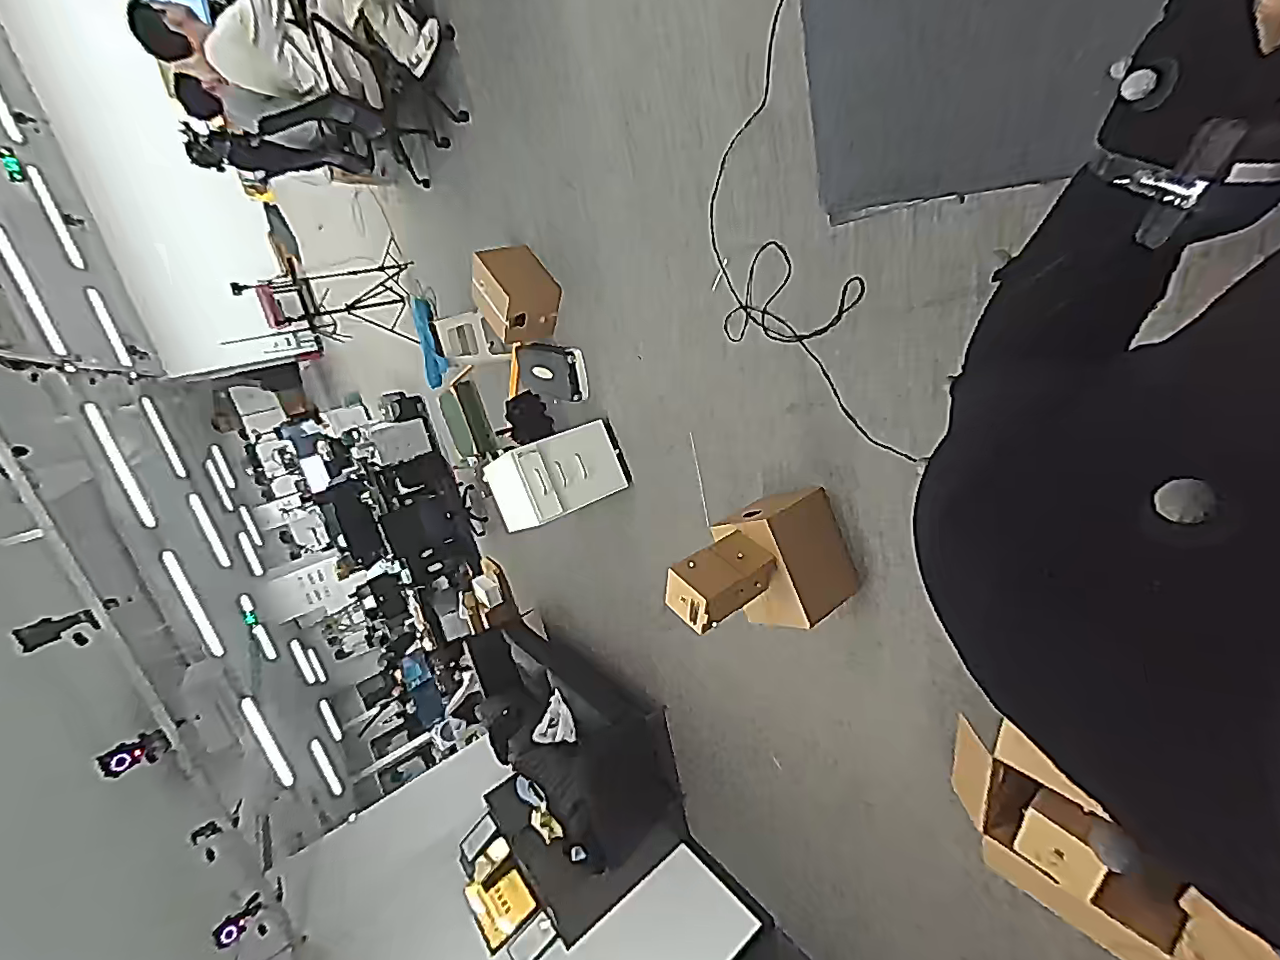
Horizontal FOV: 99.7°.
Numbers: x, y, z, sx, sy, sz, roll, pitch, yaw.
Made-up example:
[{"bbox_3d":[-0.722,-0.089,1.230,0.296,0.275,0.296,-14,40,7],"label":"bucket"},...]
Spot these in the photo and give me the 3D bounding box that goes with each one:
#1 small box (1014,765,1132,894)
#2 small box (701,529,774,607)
[{"bbox_3d":[1.080,0.860,1.348,0.168,0.176,0.179,30,133,49],"label":"small box"},{"bbox_3d":[0.335,0.296,1.861,0.179,0.176,0.168,35,137,37],"label":"small box"}]
